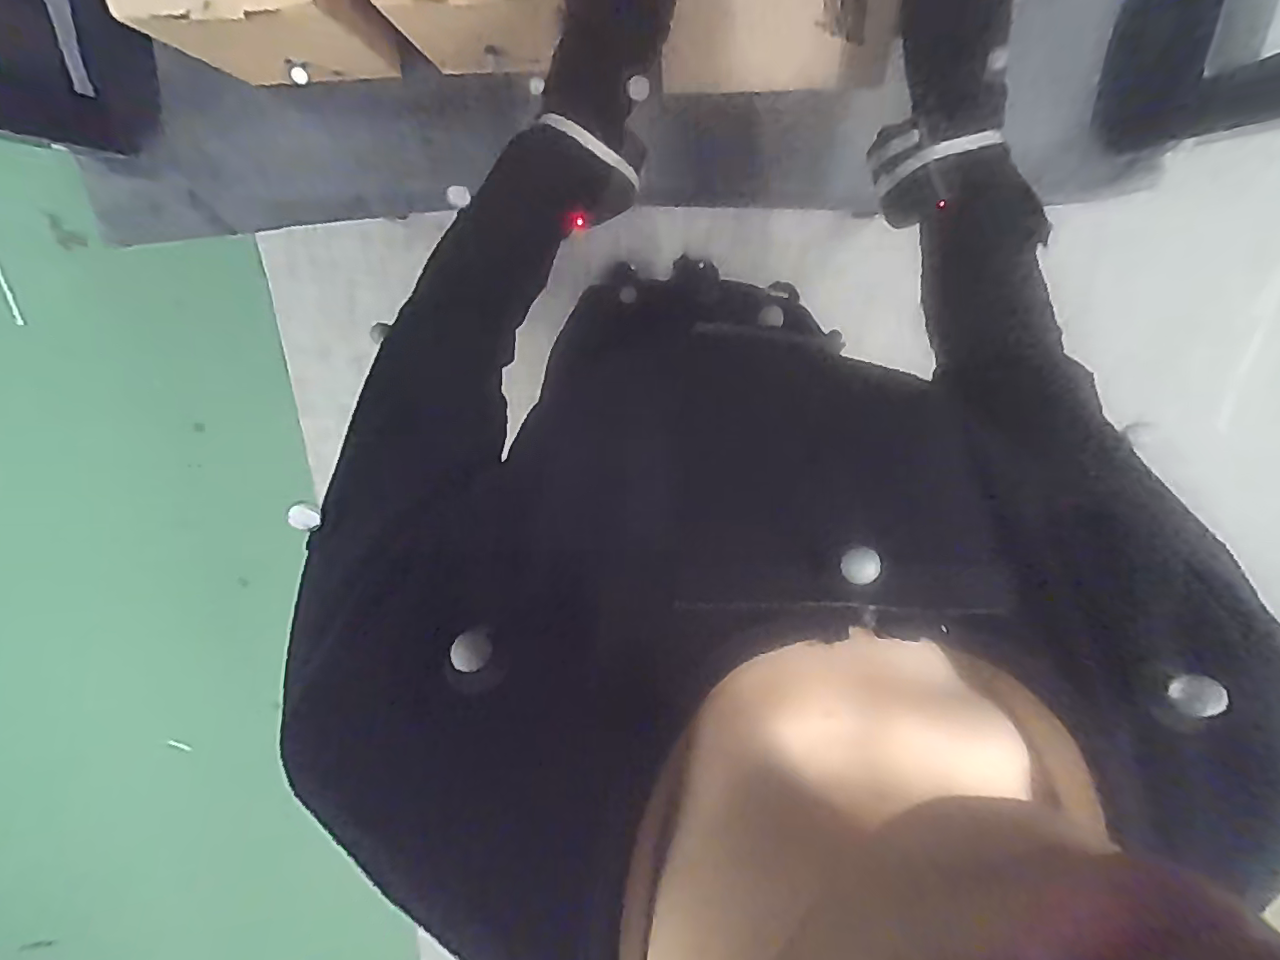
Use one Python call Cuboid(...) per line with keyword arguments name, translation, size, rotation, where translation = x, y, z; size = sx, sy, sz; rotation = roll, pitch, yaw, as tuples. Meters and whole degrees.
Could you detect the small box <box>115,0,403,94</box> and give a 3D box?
Cuboid(name="small box", translation=(-0.336, -0.474, 0.479), size=(0.168, 0.176, 0.179), rotation=(-2, 111, 1))
